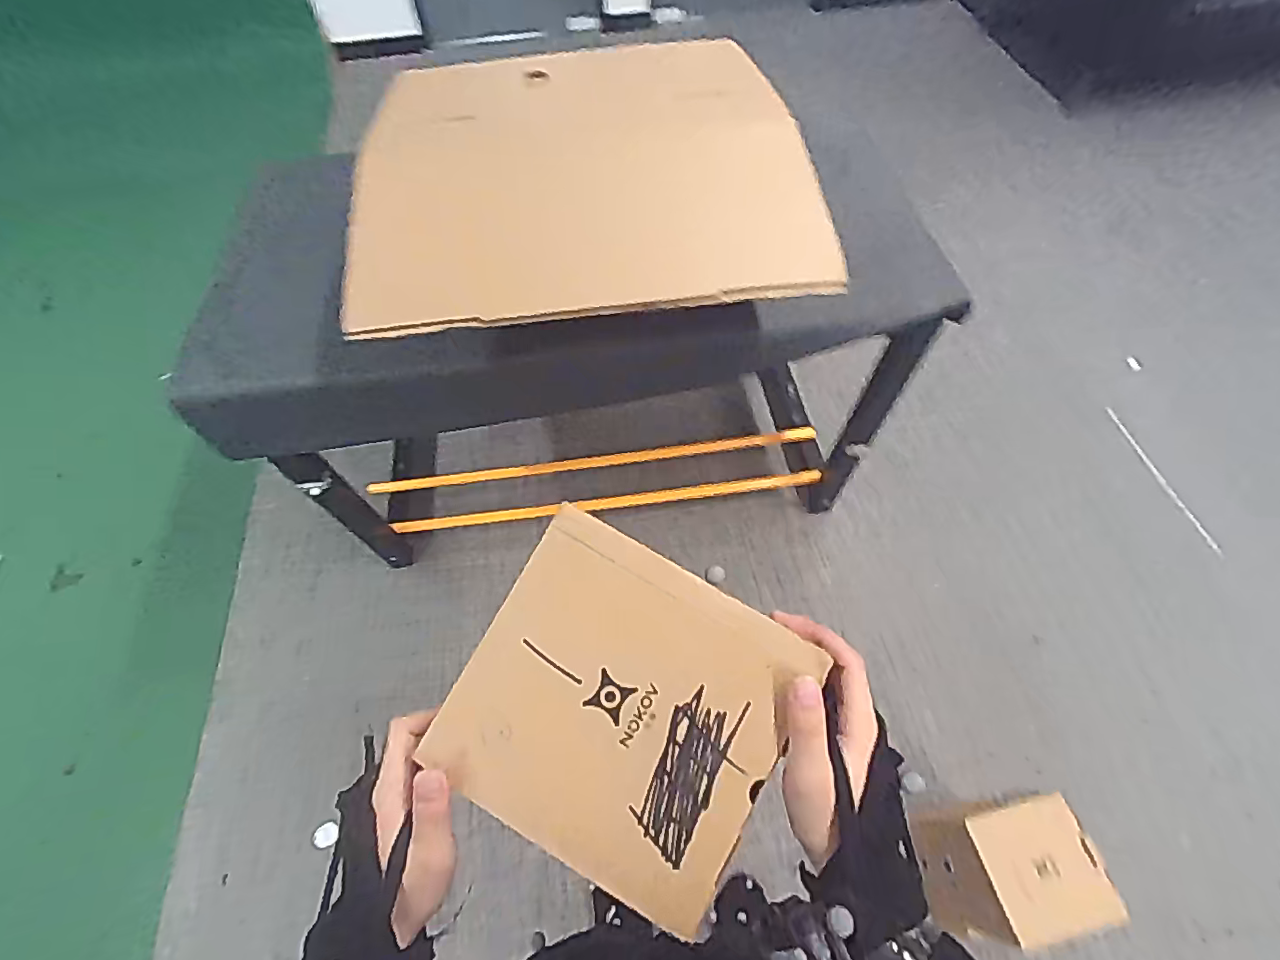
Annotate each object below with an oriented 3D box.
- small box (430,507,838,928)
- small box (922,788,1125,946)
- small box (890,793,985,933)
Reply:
[{"bbox_3d":[0.000,0.137,0.379,0.179,0.176,0.168,30,83,8],"label":"small box"},{"bbox_3d":[0.607,0.617,0.884,0.179,0.176,0.168,-13,59,-6],"label":"small box"},{"bbox_3d":[0.607,0.710,1.019,0.168,0.176,0.179,-13,60,-6],"label":"small box"}]
